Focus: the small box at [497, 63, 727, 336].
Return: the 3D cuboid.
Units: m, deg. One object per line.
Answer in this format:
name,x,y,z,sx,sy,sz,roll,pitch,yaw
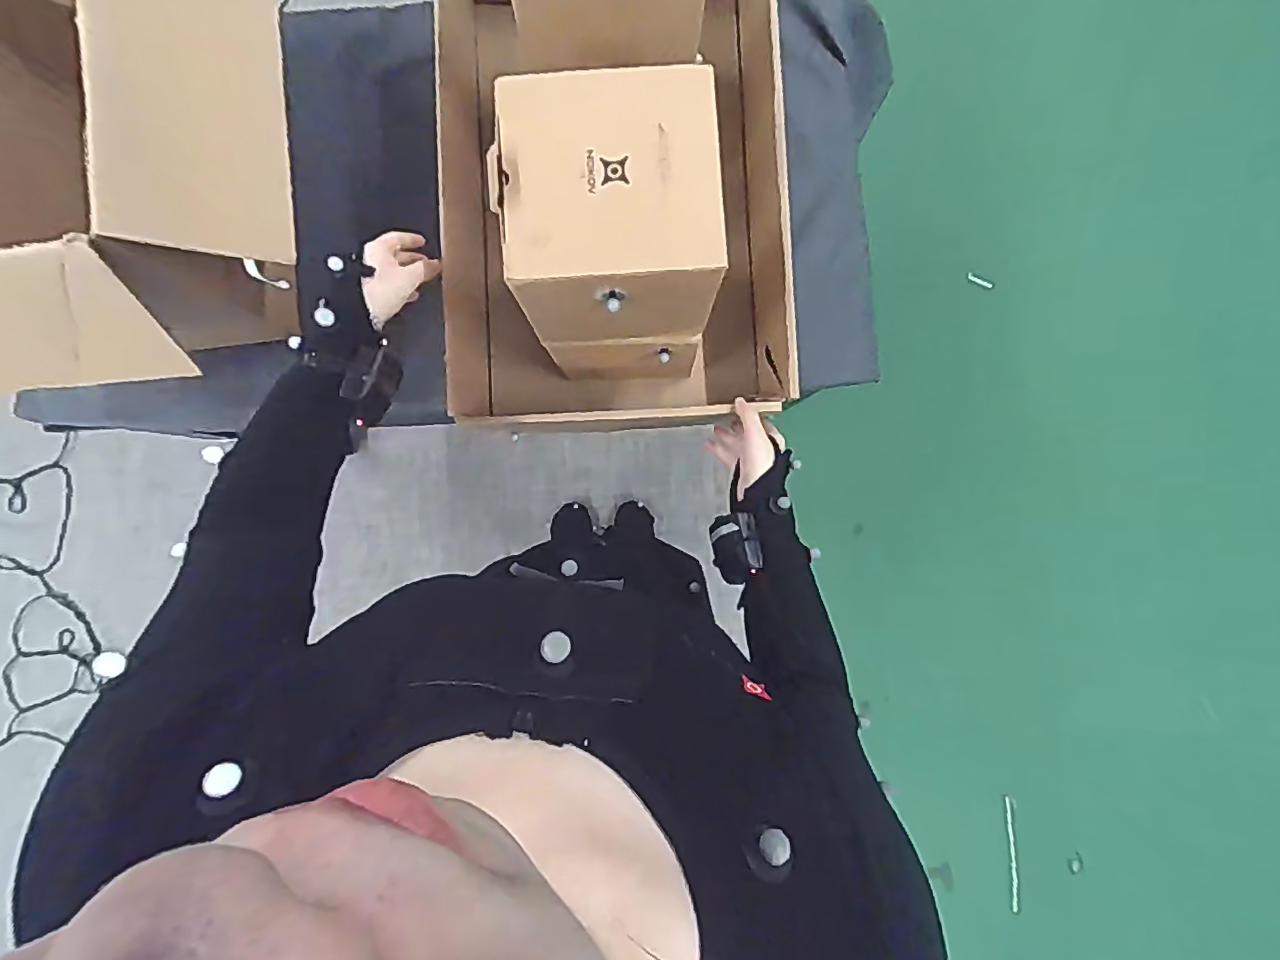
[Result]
small box,-0.023,-0.240,0.504,0.179,0.176,0.168,-4,89,-1
